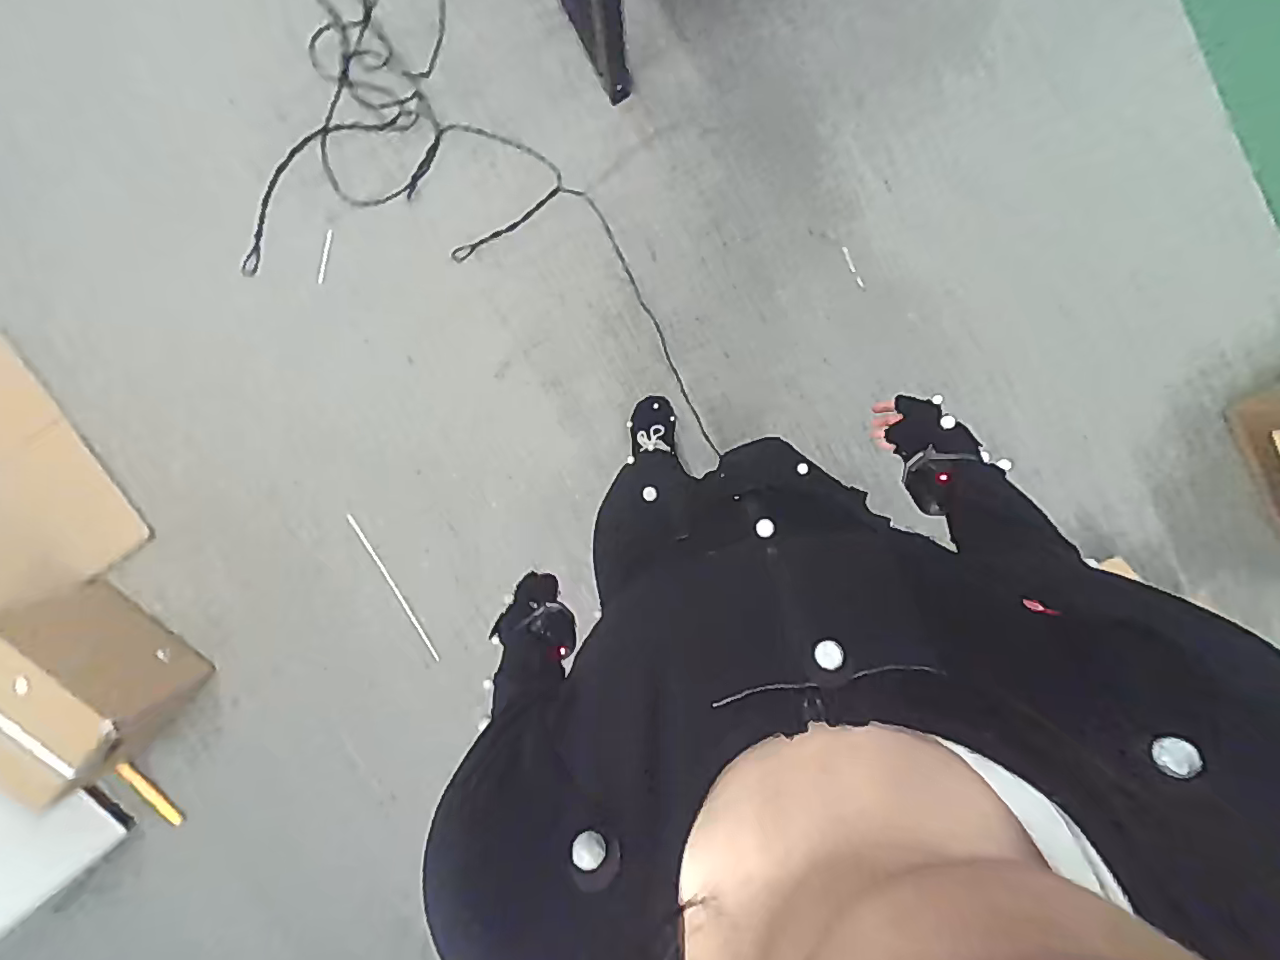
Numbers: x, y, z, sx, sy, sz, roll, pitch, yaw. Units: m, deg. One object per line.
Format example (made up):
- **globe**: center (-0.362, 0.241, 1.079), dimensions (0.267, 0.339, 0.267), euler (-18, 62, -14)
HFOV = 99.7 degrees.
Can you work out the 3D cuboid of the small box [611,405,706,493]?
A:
- **small box**: center (0.044, -0.082, 1.417), dimensions (0.179, 0.176, 0.168), euler (41, 106, 15)
